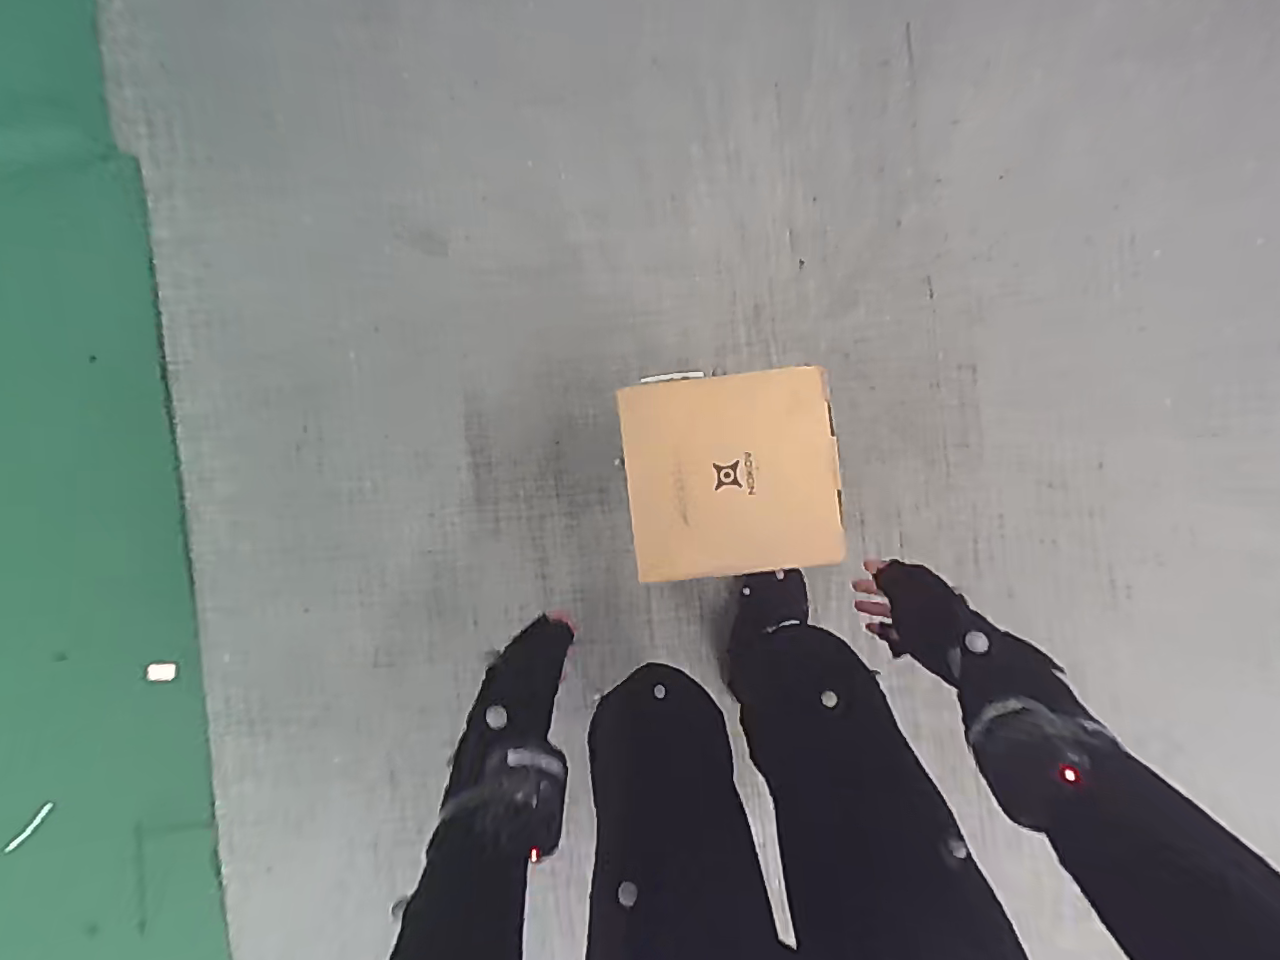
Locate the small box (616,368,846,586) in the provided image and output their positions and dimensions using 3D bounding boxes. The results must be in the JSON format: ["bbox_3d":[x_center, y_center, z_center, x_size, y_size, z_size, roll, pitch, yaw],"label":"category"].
[{"bbox_3d":[0.077,-0.003,0.526,0.179,0.176,0.168,-8,90,3],"label":"small box"}]
